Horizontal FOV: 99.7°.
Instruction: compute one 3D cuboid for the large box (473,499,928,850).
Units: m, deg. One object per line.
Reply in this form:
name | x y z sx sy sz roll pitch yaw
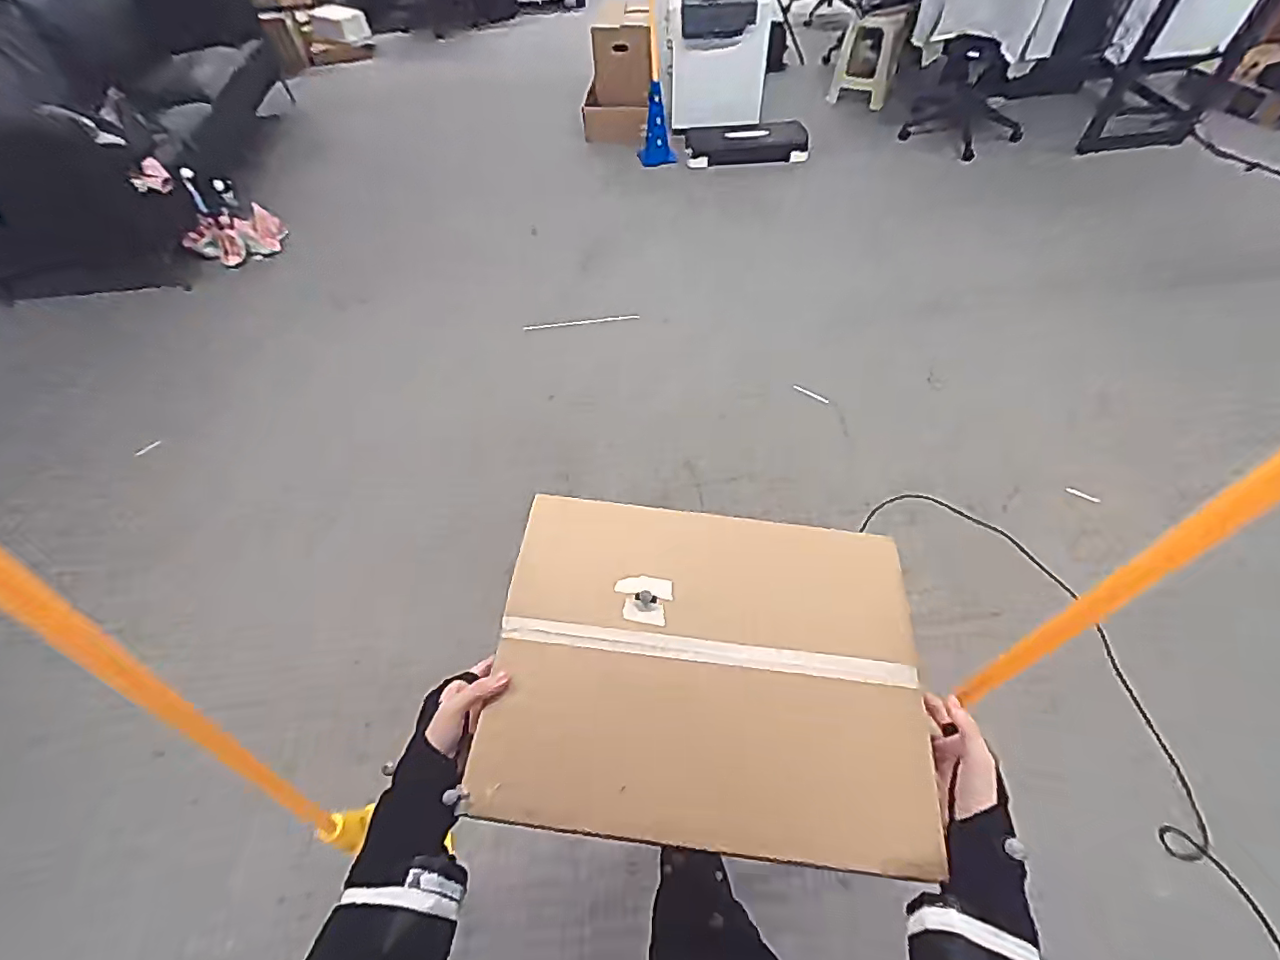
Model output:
large box | 0.063 0.247 0.671 0.408 0.320 0.320 6 56 3
